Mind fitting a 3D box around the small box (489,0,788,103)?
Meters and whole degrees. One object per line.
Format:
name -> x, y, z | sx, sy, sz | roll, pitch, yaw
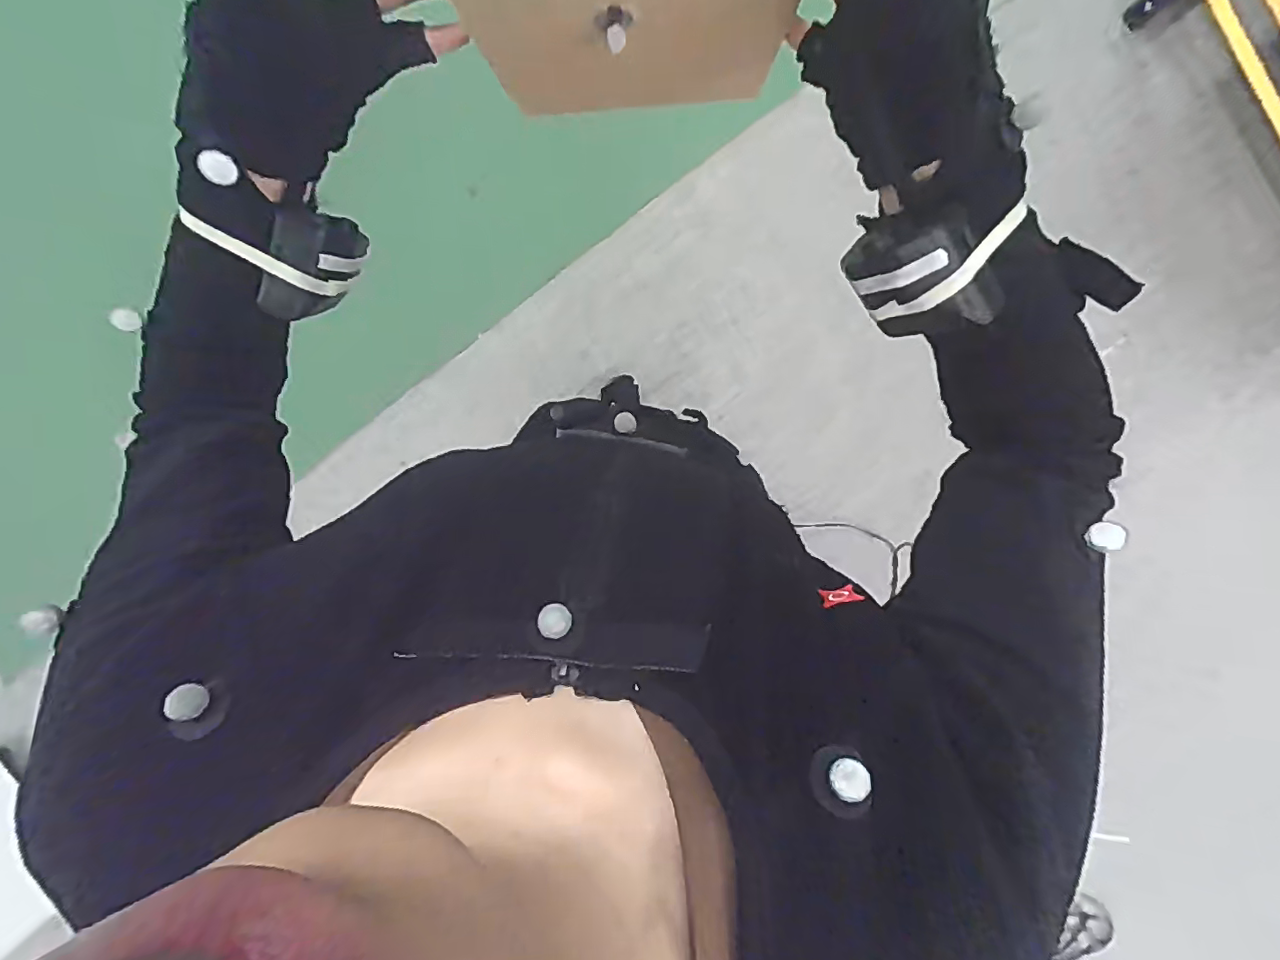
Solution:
small box -> -0.003, -0.337, 0.302 | 0.179, 0.176, 0.168 | -3, 107, 2
